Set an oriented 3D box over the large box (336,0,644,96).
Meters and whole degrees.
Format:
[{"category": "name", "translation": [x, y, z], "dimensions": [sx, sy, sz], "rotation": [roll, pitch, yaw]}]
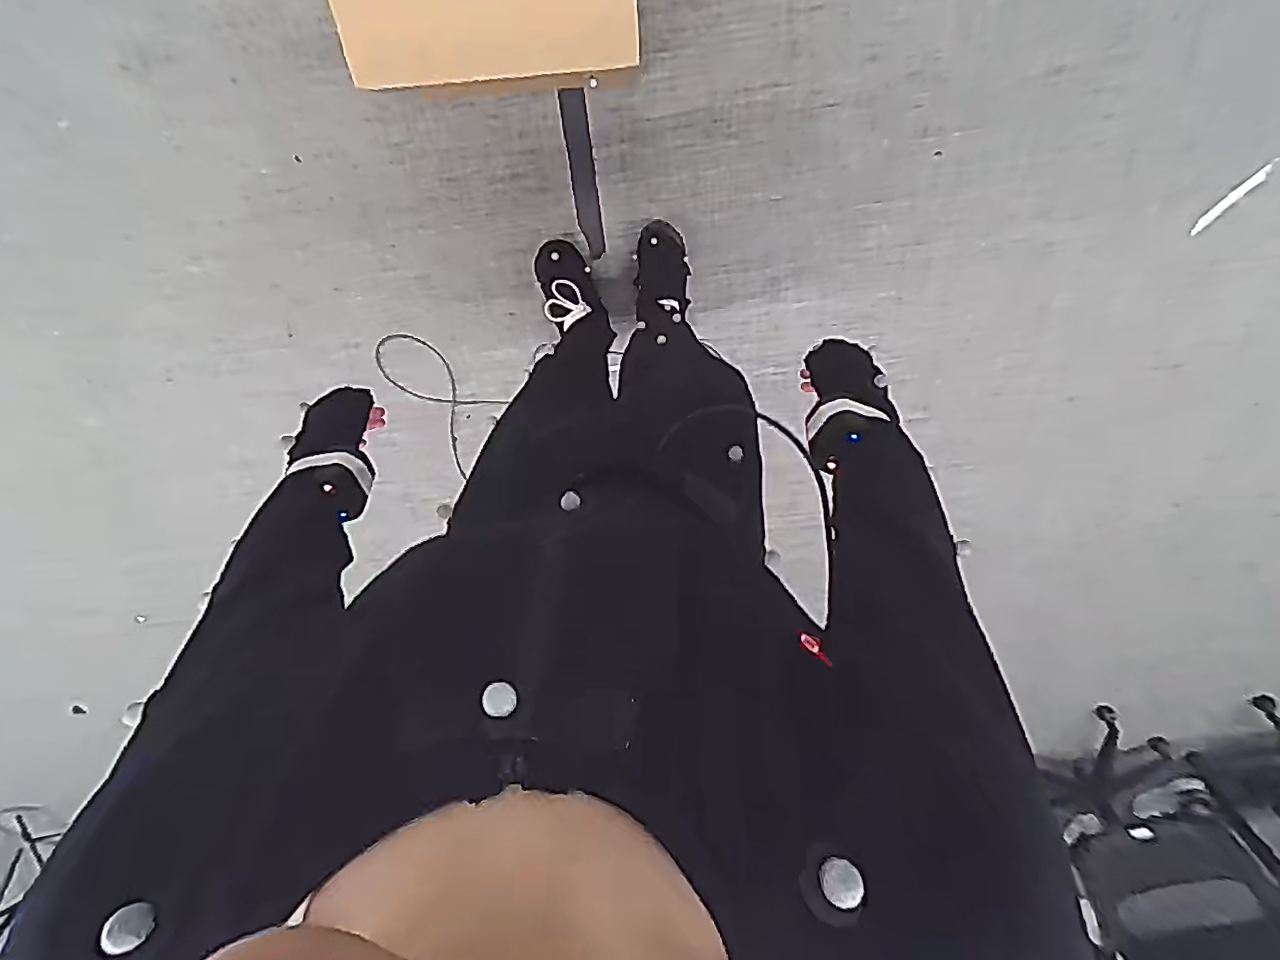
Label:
[{"category": "large box", "translation": [-0.206, -0.774, 0.796], "dimensions": [0.408, 0.320, 0.320], "rotation": [-4, 123, 2]}]
